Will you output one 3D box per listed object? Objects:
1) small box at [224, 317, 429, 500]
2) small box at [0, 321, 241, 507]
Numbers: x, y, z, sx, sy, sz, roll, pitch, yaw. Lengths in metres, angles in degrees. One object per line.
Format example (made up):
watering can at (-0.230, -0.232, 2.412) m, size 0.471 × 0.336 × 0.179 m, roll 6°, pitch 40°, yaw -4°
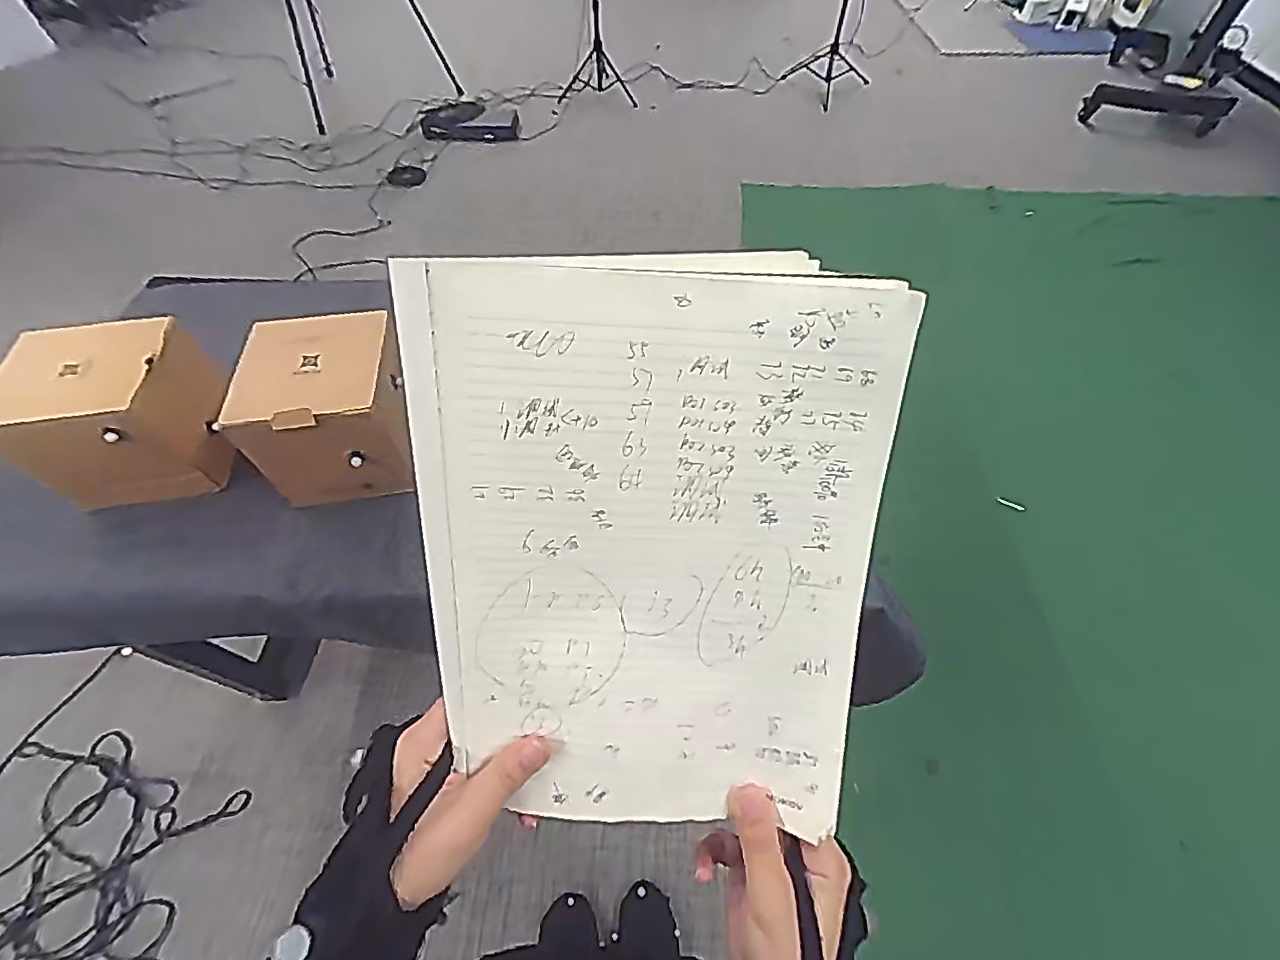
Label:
small box at (-0.387, -0.086, 0.708) m, size 0.168 × 0.176 × 0.179 m, roll -7°, pitch 54°, yaw -6°
small box at (-0.660, -0.080, 0.706) m, size 0.179 × 0.176 × 0.168 m, roll -8°, pitch 55°, yaw -7°
